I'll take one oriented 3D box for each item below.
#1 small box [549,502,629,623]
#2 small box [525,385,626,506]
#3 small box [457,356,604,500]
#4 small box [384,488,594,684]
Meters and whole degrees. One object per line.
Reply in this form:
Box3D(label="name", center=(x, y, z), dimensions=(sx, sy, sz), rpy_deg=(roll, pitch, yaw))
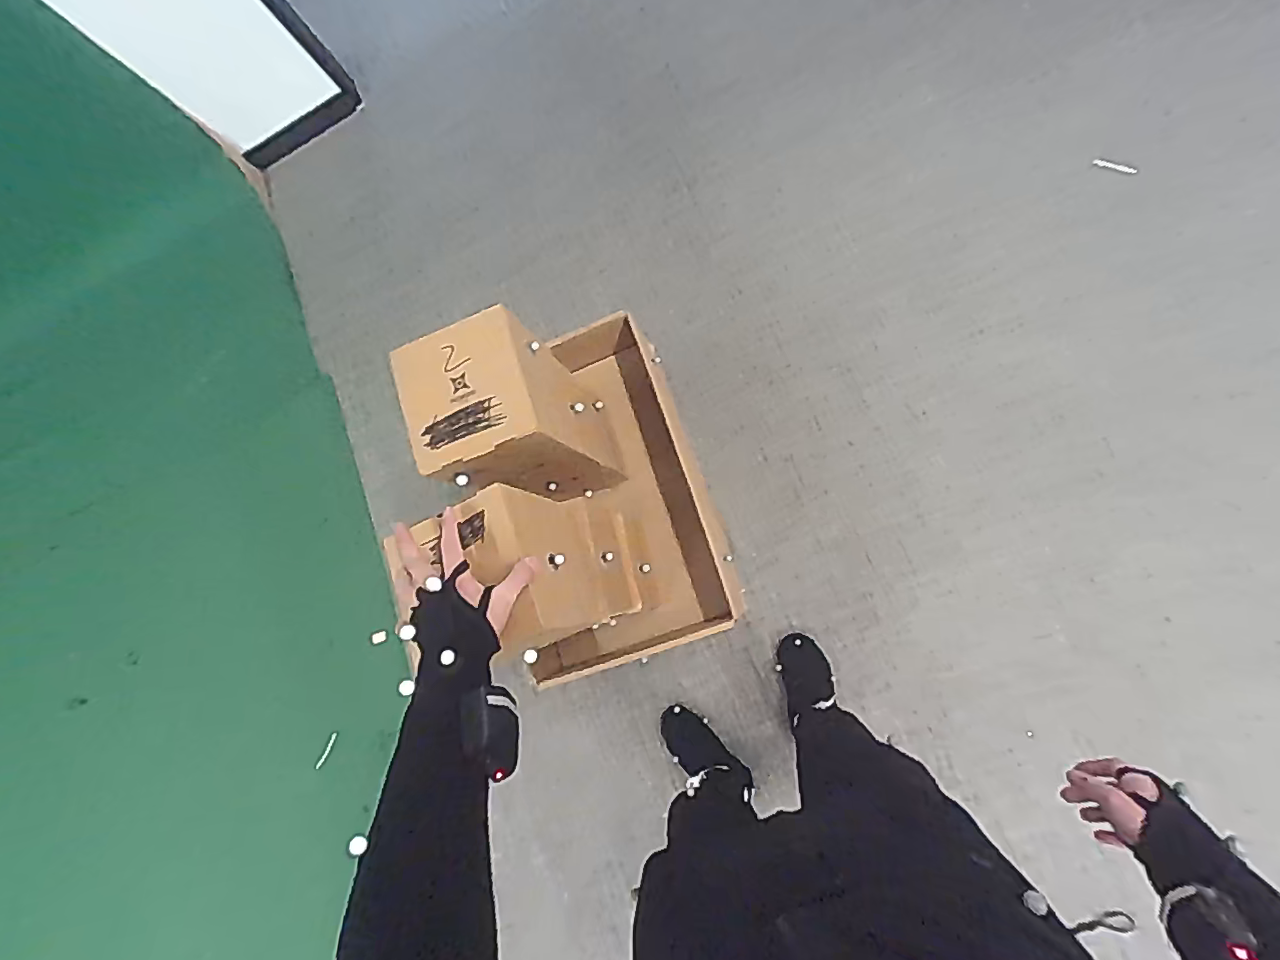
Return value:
Box3D(label="small box", center=(-0.126, 0.146, 0.864), dimensions=(0.168, 0.176, 0.179), rpy_deg=(-15, 77, 10))
Box3D(label="small box", center=(-0.143, -0.059, 1.072), dimensions=(0.168, 0.176, 0.179), rpy_deg=(-21, 79, 9))
Box3D(label="small box", center=(-0.177, -0.078, 0.915), dimensions=(0.168, 0.176, 0.179), rpy_deg=(-21, 80, 8))
Box3D(label="small box", center=(-0.180, 0.132, 0.677), dimensions=(0.168, 0.176, 0.179), rpy_deg=(-25, 73, 12))
